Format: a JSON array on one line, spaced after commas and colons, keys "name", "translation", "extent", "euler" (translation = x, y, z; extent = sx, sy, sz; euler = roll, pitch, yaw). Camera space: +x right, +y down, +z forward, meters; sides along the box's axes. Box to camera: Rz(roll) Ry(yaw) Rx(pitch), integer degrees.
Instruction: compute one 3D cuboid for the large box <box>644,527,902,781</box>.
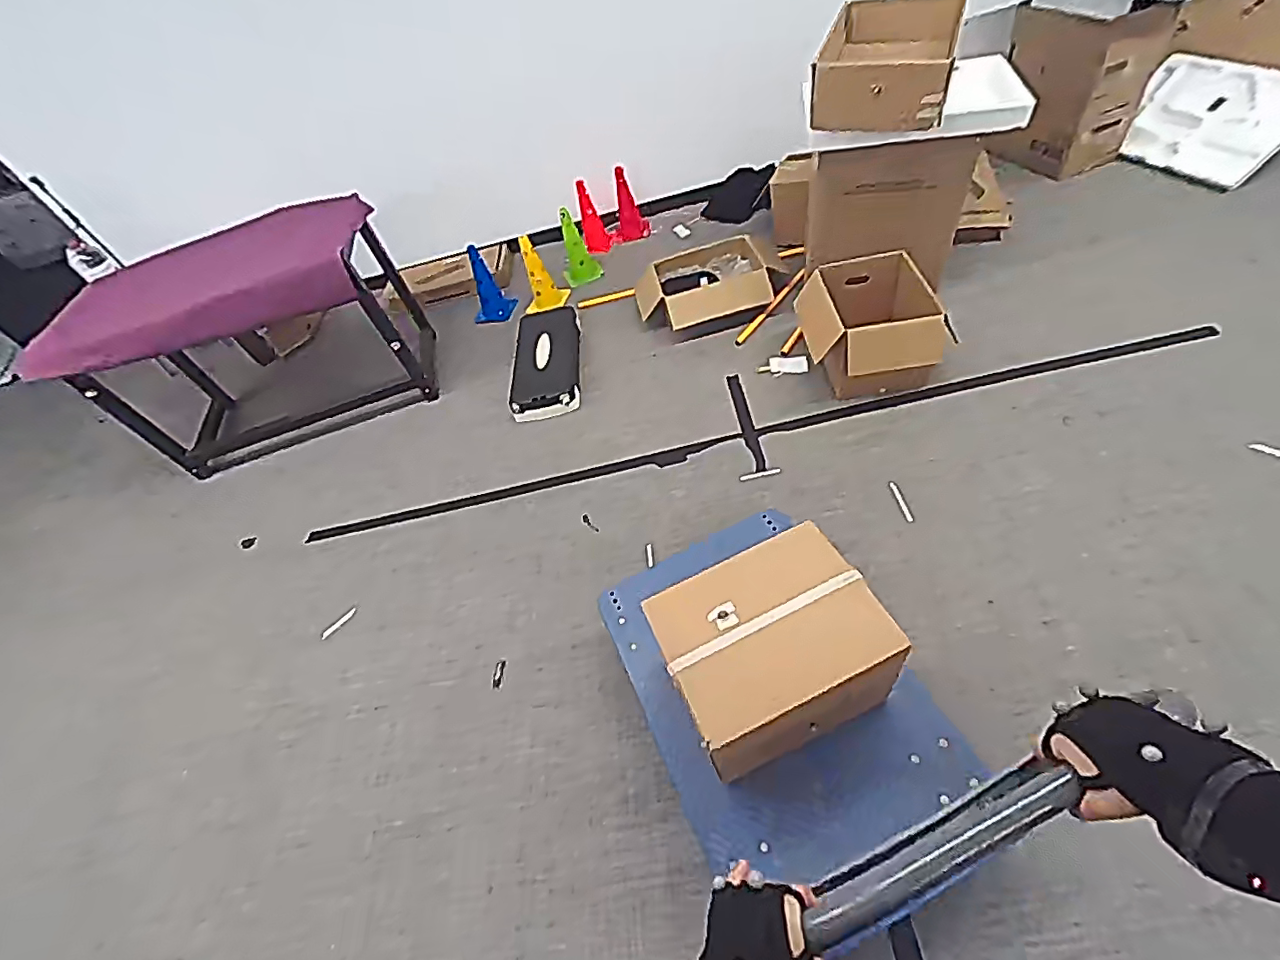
[{"name": "large box", "translation": [0.274, 0.377, 1.163], "extent": [0.408, 0.320, 0.320], "euler": [-26, 49, -5]}]
